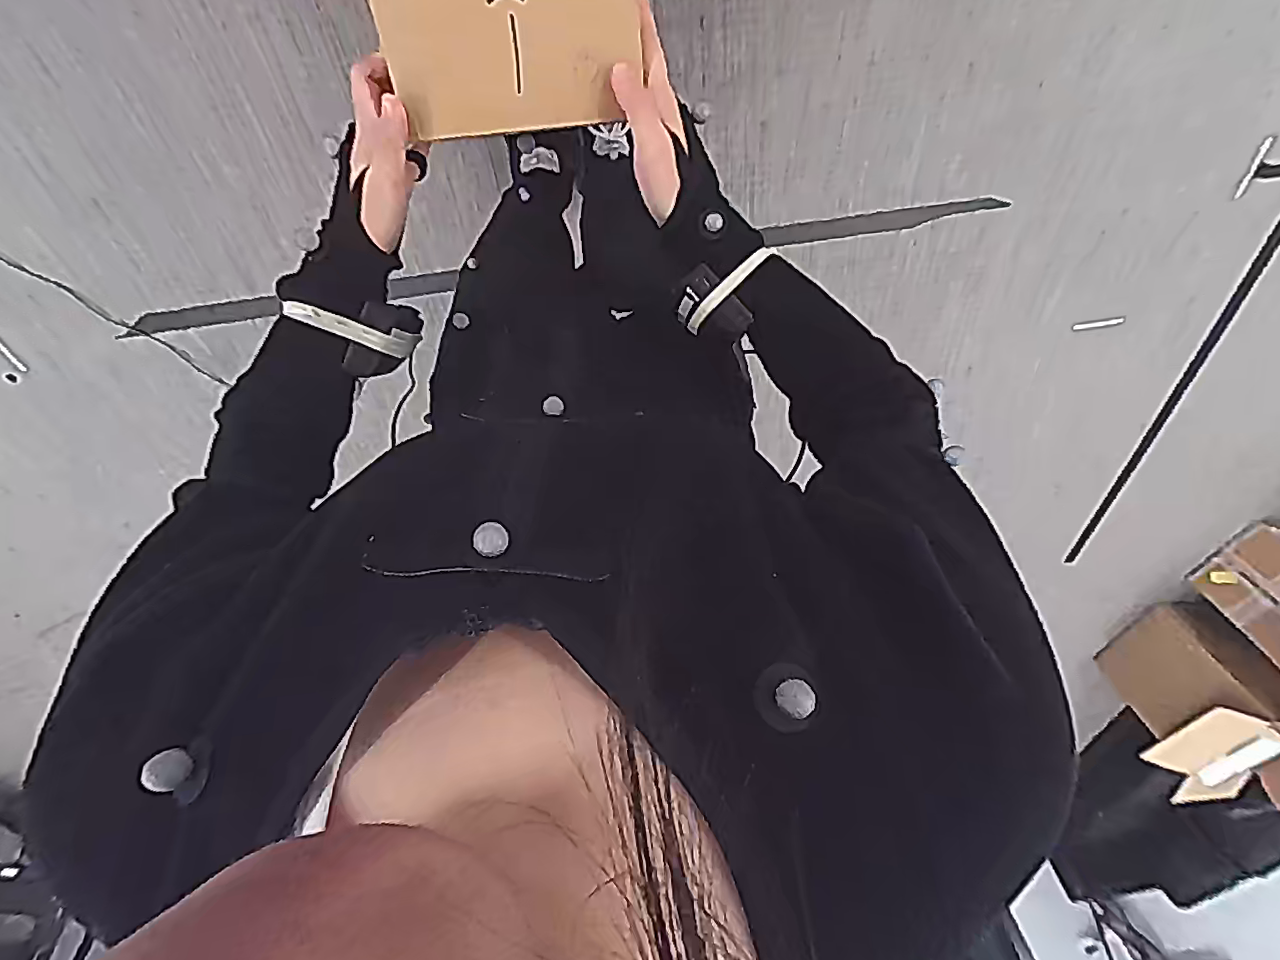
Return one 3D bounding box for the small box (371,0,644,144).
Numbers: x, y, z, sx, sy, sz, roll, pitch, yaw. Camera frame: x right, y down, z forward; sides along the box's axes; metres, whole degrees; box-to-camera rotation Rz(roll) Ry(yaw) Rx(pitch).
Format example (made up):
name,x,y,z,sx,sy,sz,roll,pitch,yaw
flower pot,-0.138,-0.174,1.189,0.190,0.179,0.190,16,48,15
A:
name,x,y,z,sx,sy,sz,roll,pitch,yaw
small box,-0.095,-0.352,0.390,0.168,0.176,0.179,-9,125,-4
